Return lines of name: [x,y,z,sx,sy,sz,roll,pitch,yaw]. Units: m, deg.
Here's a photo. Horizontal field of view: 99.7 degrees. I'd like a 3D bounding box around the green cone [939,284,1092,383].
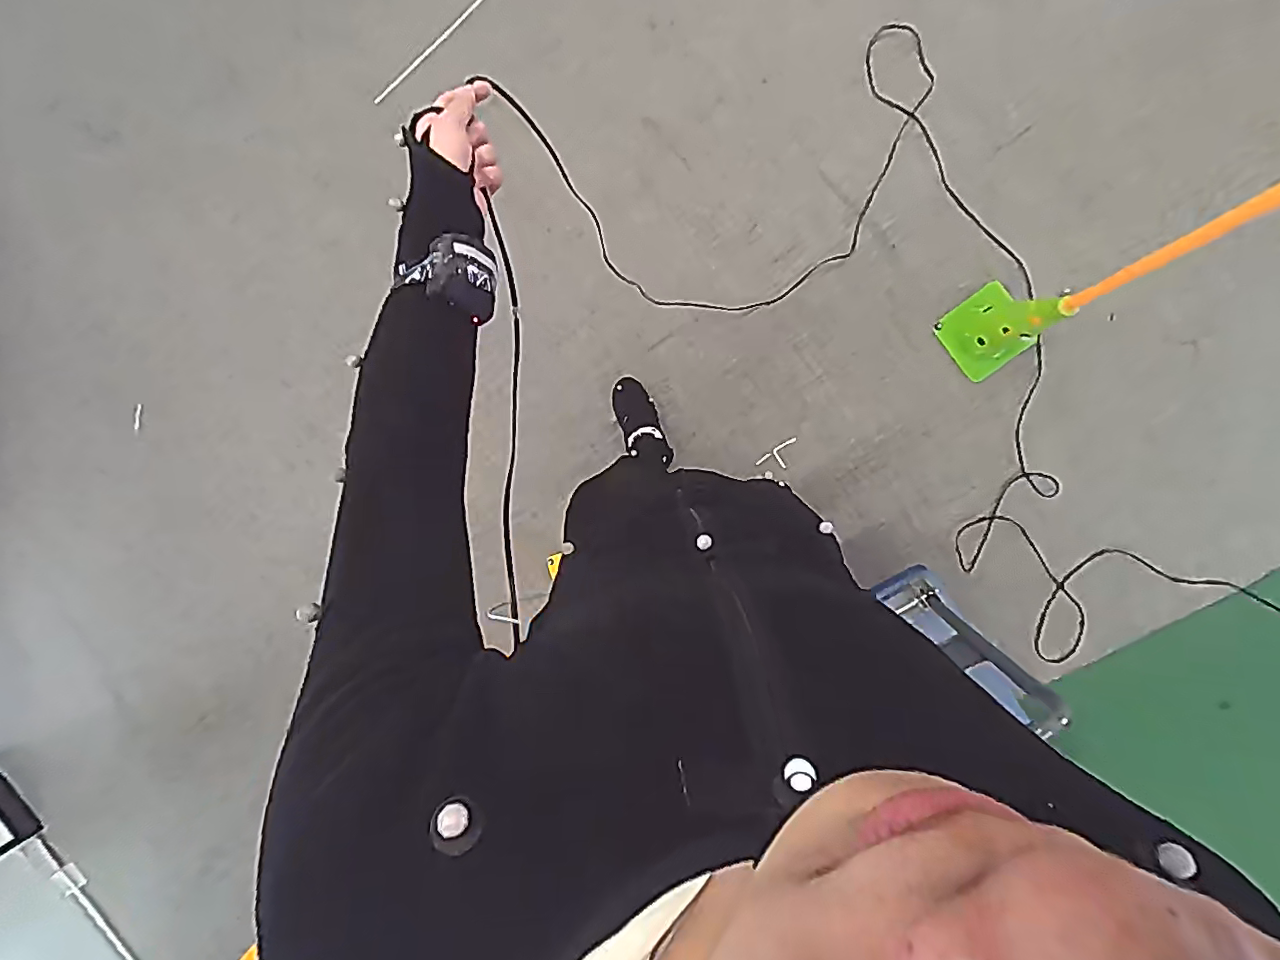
green cone: [0.904,-0.366,1.259,0.202,0.368,0.200,-38,91,10]
